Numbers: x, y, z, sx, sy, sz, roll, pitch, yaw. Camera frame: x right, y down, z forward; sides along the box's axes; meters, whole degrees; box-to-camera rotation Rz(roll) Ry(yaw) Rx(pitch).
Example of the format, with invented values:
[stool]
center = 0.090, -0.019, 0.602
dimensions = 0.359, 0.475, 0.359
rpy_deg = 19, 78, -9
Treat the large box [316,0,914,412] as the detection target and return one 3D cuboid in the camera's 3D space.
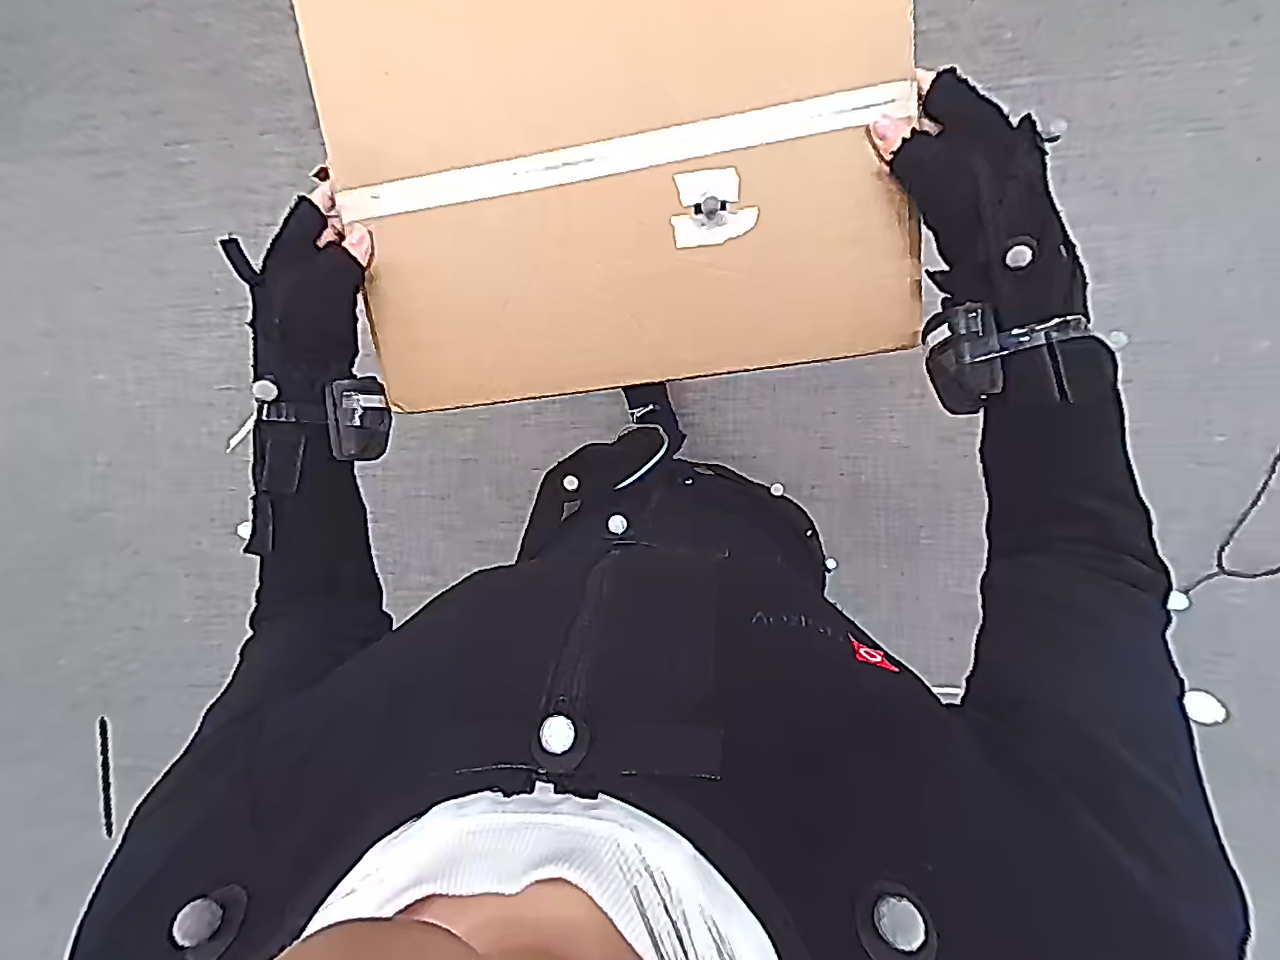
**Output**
[large box]
center = -0.004, -0.261, 0.535
dimensions = 0.408, 0.320, 0.320
rpy_deg = -7, 103, 7
